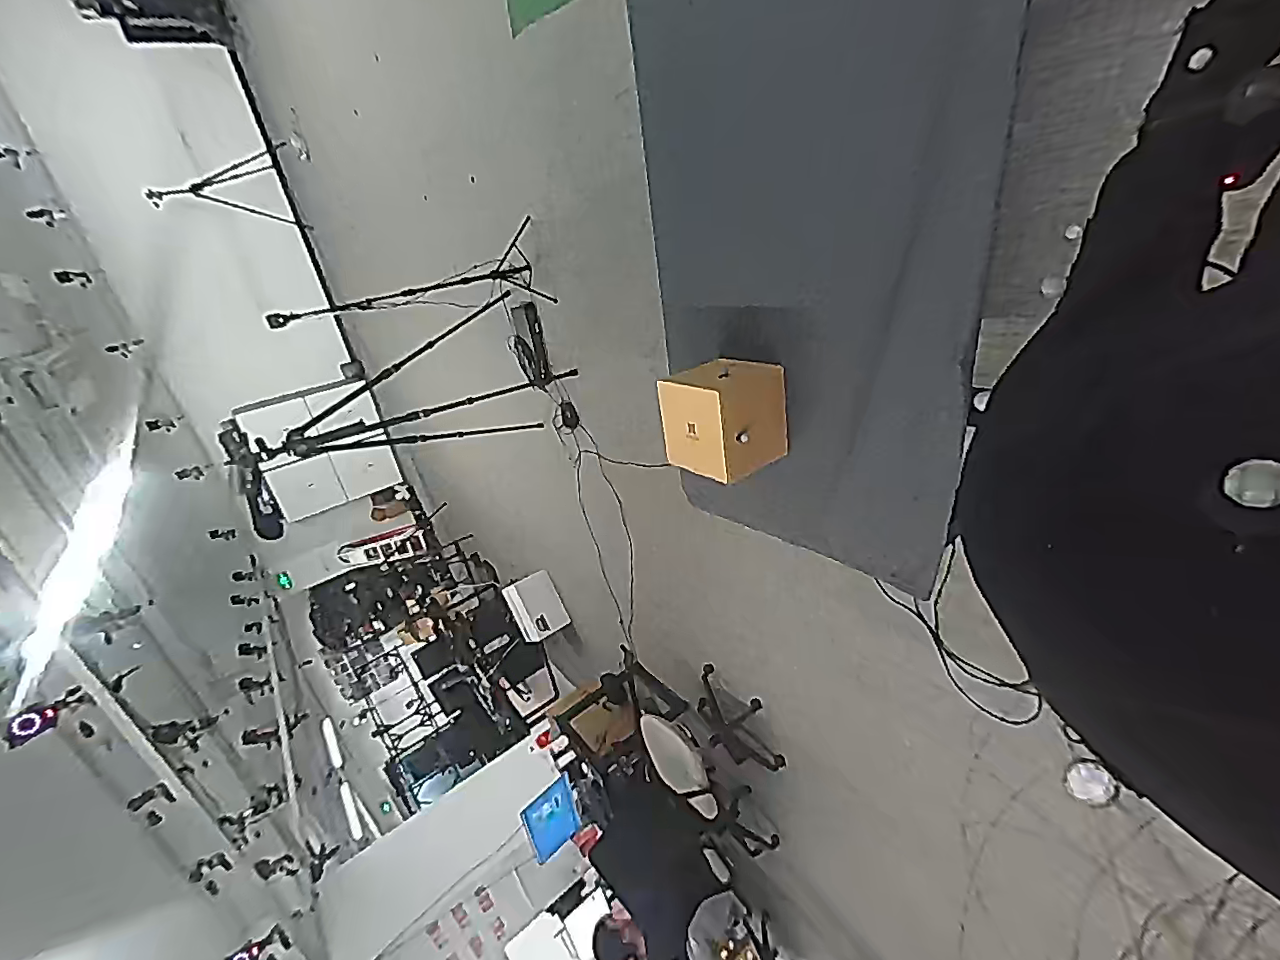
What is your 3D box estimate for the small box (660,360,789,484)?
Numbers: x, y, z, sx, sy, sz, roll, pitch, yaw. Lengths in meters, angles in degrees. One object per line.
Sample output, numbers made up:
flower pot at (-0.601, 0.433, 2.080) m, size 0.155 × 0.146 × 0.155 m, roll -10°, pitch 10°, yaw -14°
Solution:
small box at (0.164, -0.119, 1.024) m, size 0.168 × 0.176 × 0.179 m, roll 22°, pitch 131°, yaw 49°
